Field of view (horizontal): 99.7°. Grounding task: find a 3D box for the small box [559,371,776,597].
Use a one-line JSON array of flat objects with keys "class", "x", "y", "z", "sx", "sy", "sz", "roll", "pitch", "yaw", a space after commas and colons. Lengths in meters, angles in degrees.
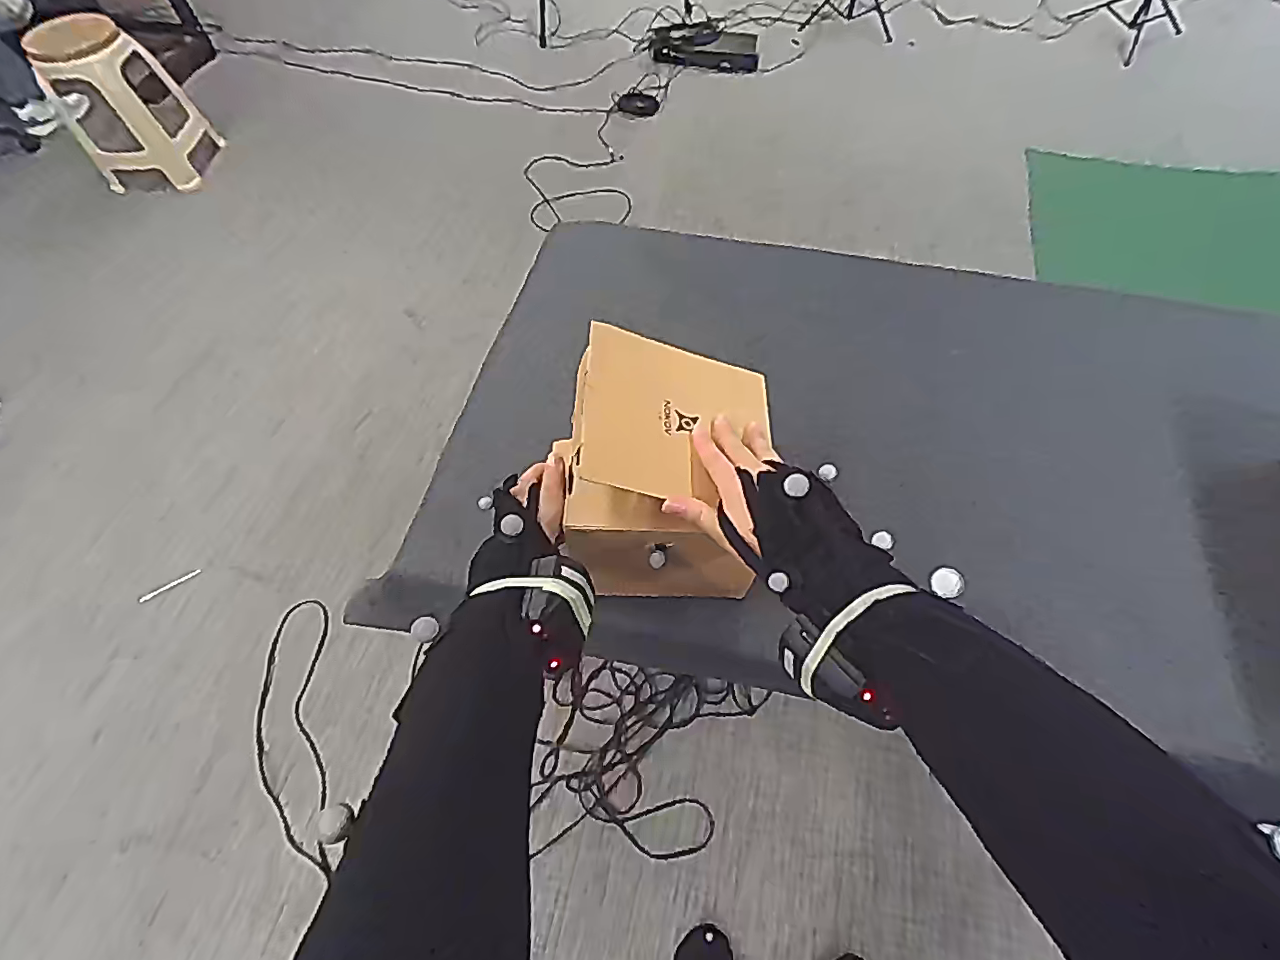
[{"class": "small box", "x": 0.026, "y": 0.011, "z": 0.538, "sx": 0.179, "sy": 0.176, "sz": 0.168, "roll": 1, "pitch": 60, "yaw": 2}]
